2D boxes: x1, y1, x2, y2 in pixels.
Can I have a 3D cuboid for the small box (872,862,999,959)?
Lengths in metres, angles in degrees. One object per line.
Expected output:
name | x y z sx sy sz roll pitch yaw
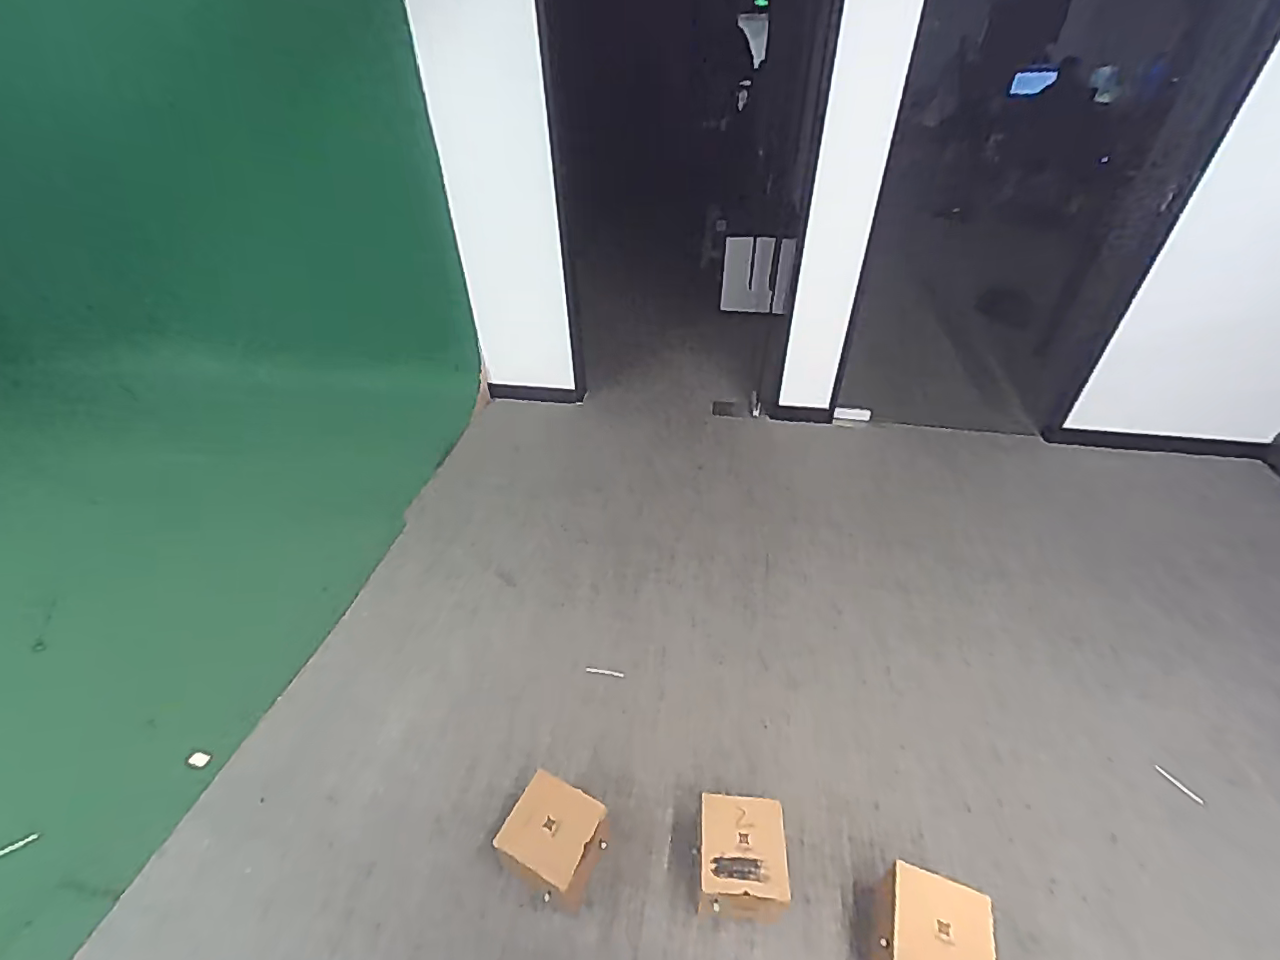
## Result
small box | 0.534 0.857 0.992 0.168 0.176 0.179 14 41 17

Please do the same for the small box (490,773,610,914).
small box | -0.176 0.758 1.124 0.179 0.176 0.168 14 40 23
